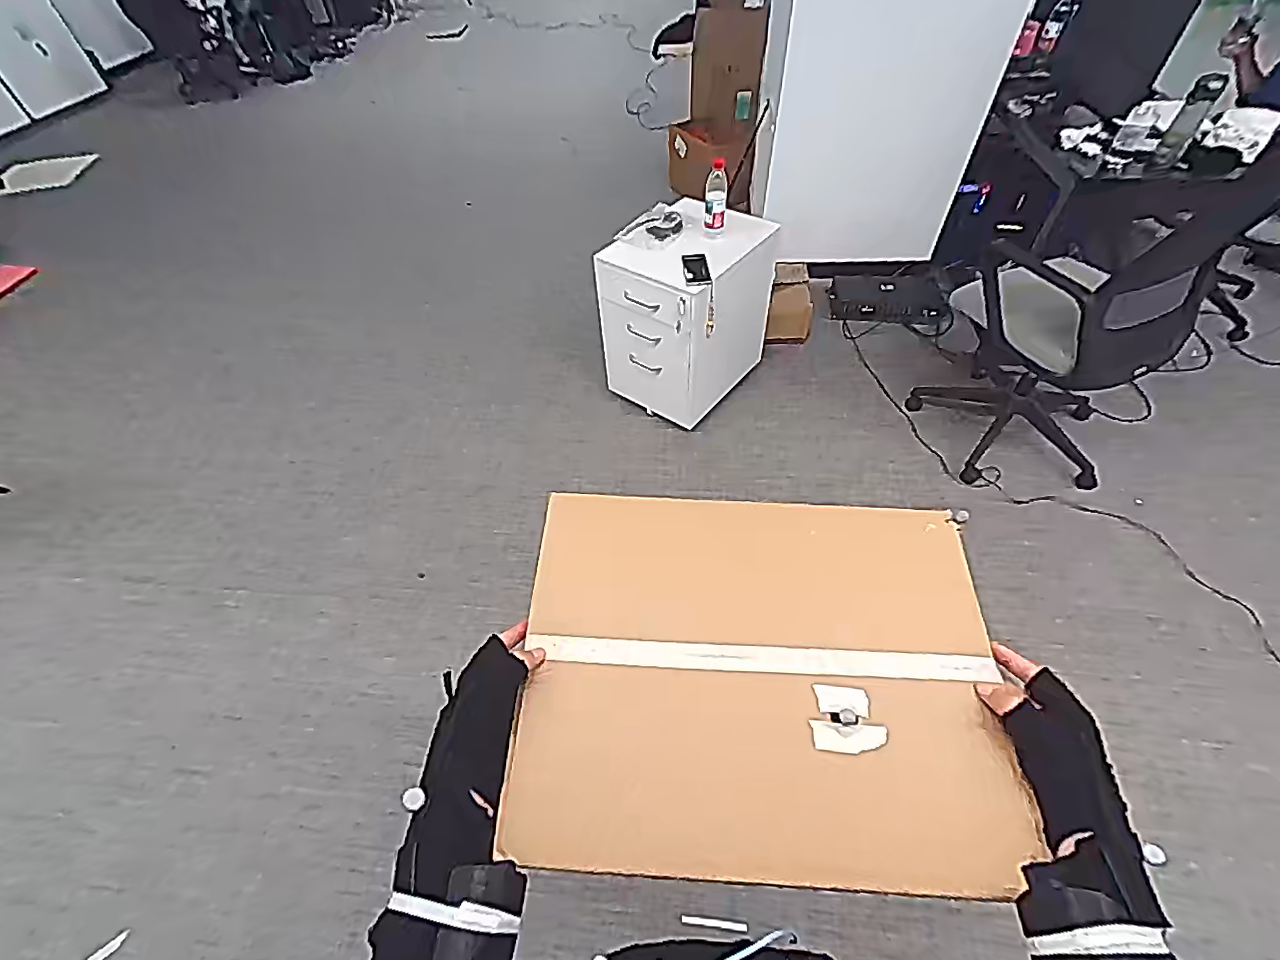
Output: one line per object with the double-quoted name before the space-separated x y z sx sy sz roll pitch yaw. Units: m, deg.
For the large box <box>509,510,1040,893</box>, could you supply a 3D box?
"large box" 0.102 0.245 0.603 0.408 0.320 0.320 2 59 1
